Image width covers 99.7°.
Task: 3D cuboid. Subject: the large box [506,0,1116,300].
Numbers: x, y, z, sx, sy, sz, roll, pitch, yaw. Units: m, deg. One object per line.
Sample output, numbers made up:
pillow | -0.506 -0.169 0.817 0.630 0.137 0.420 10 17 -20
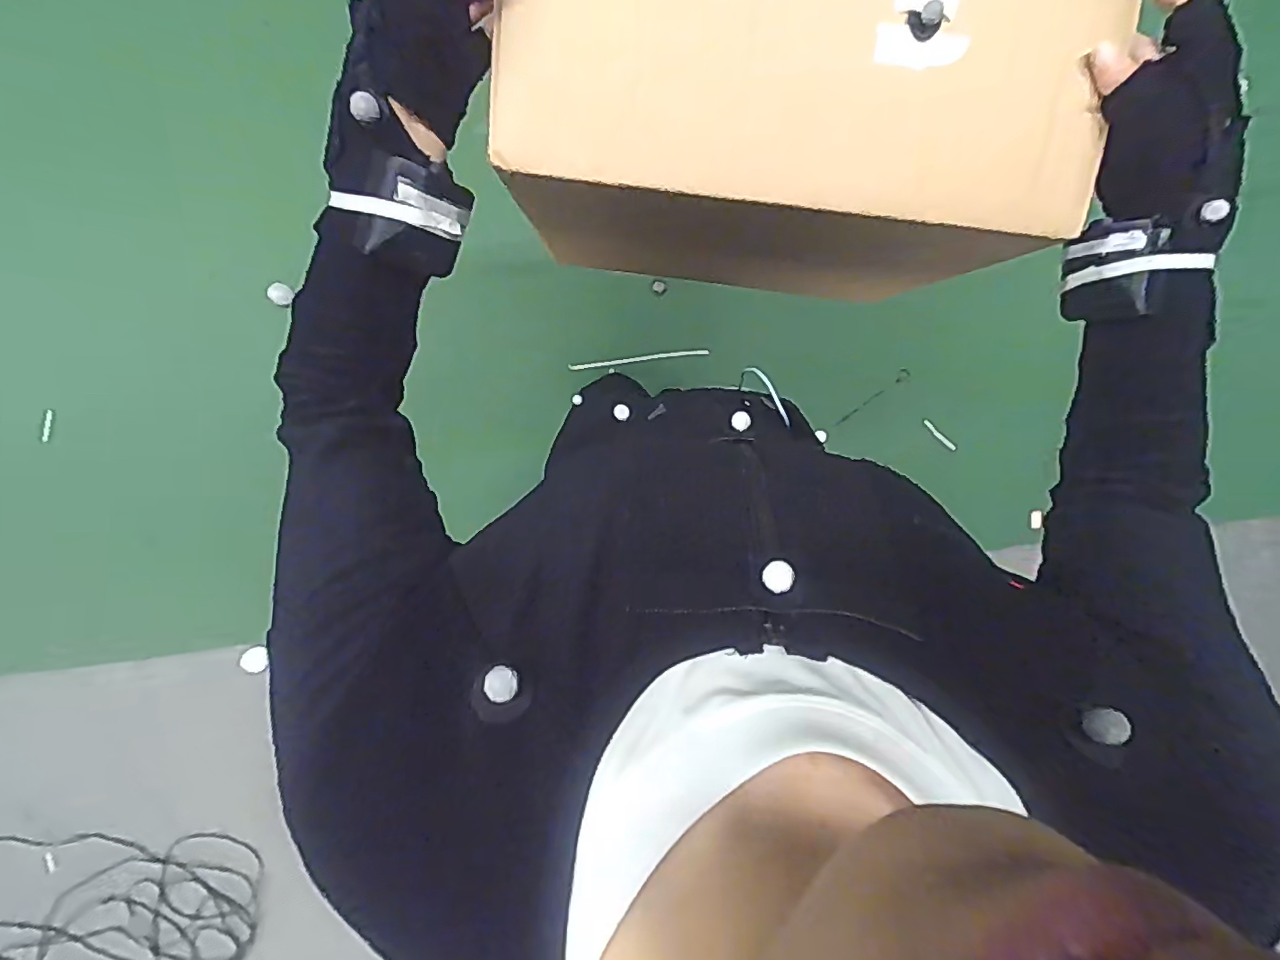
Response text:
large box | 0.115 -0.366 0.498 0.408 0.320 0.320 6 100 -2
